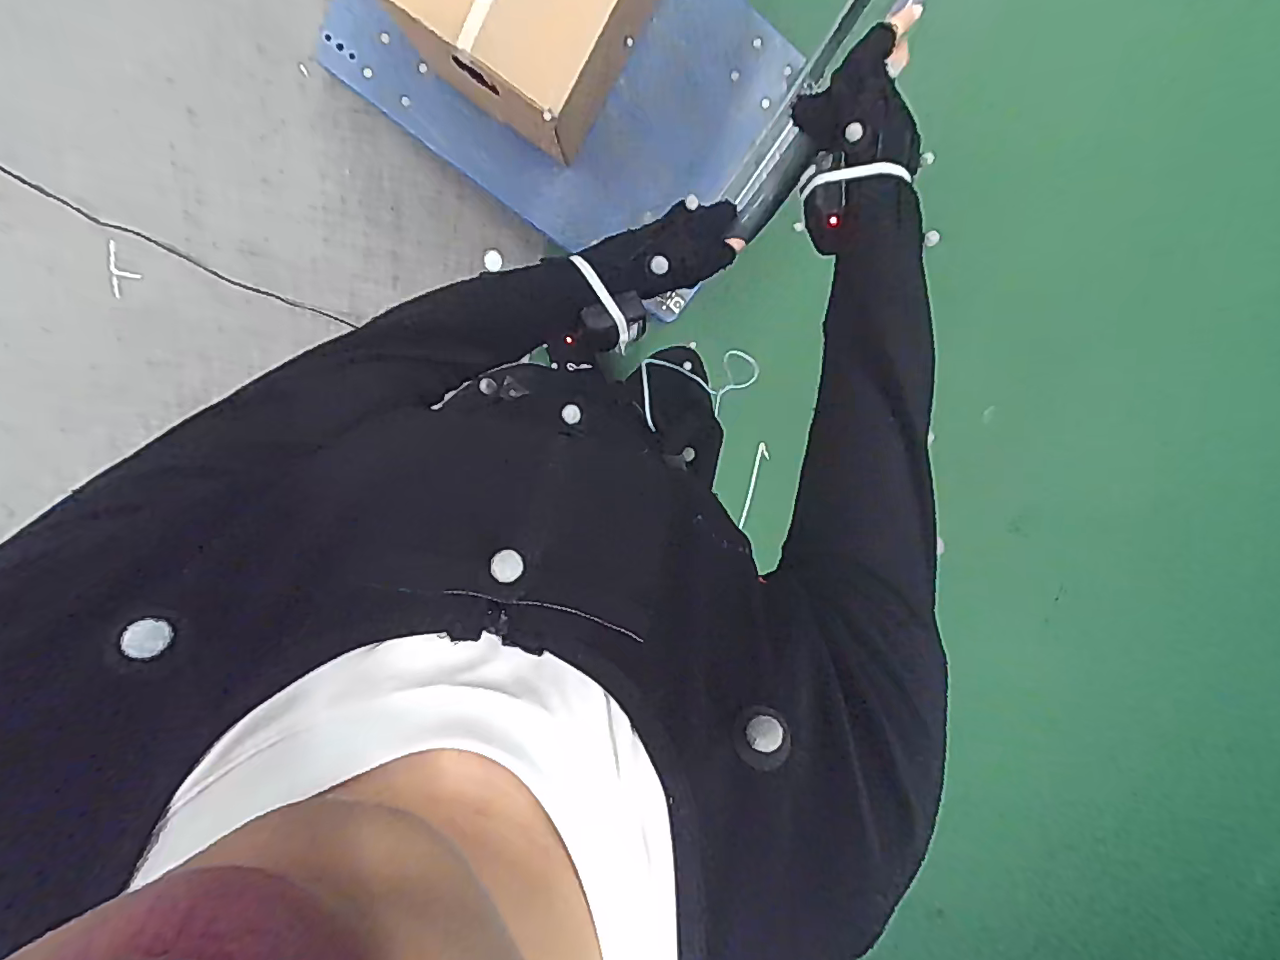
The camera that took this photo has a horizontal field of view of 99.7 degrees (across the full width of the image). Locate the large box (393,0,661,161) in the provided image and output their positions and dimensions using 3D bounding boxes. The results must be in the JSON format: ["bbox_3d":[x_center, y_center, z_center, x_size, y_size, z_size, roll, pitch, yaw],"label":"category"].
[{"bbox_3d":[-0.146,-0.839,0.893,0.320,0.320,0.408,31,104,-12],"label":"large box"}]
